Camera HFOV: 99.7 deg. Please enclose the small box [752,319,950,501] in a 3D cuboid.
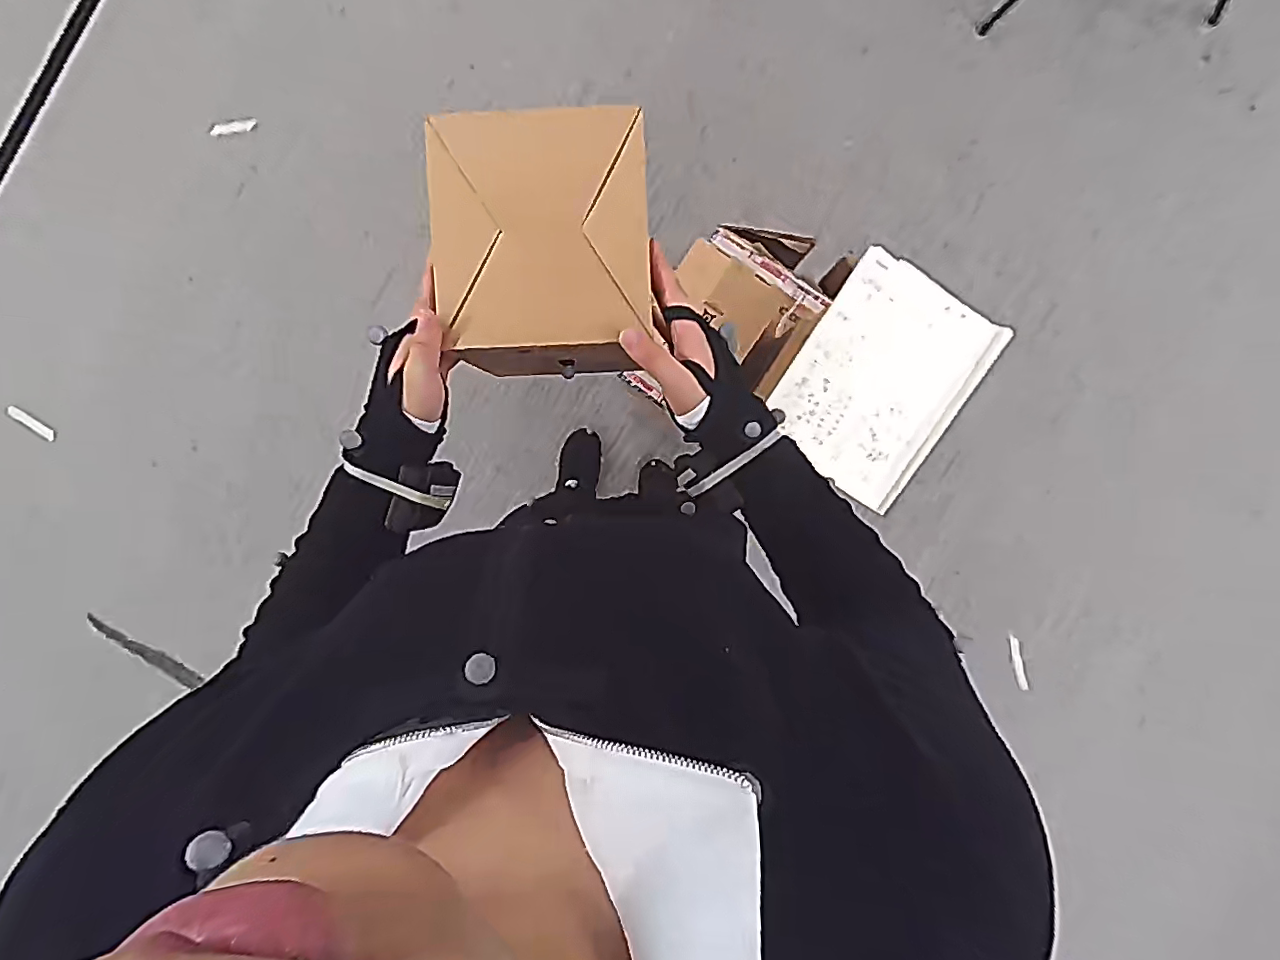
[{"bbox_3d":[0.279,-0.094,0.762,0.168,0.176,0.179,34,94,-2],"label":"small box"}]
